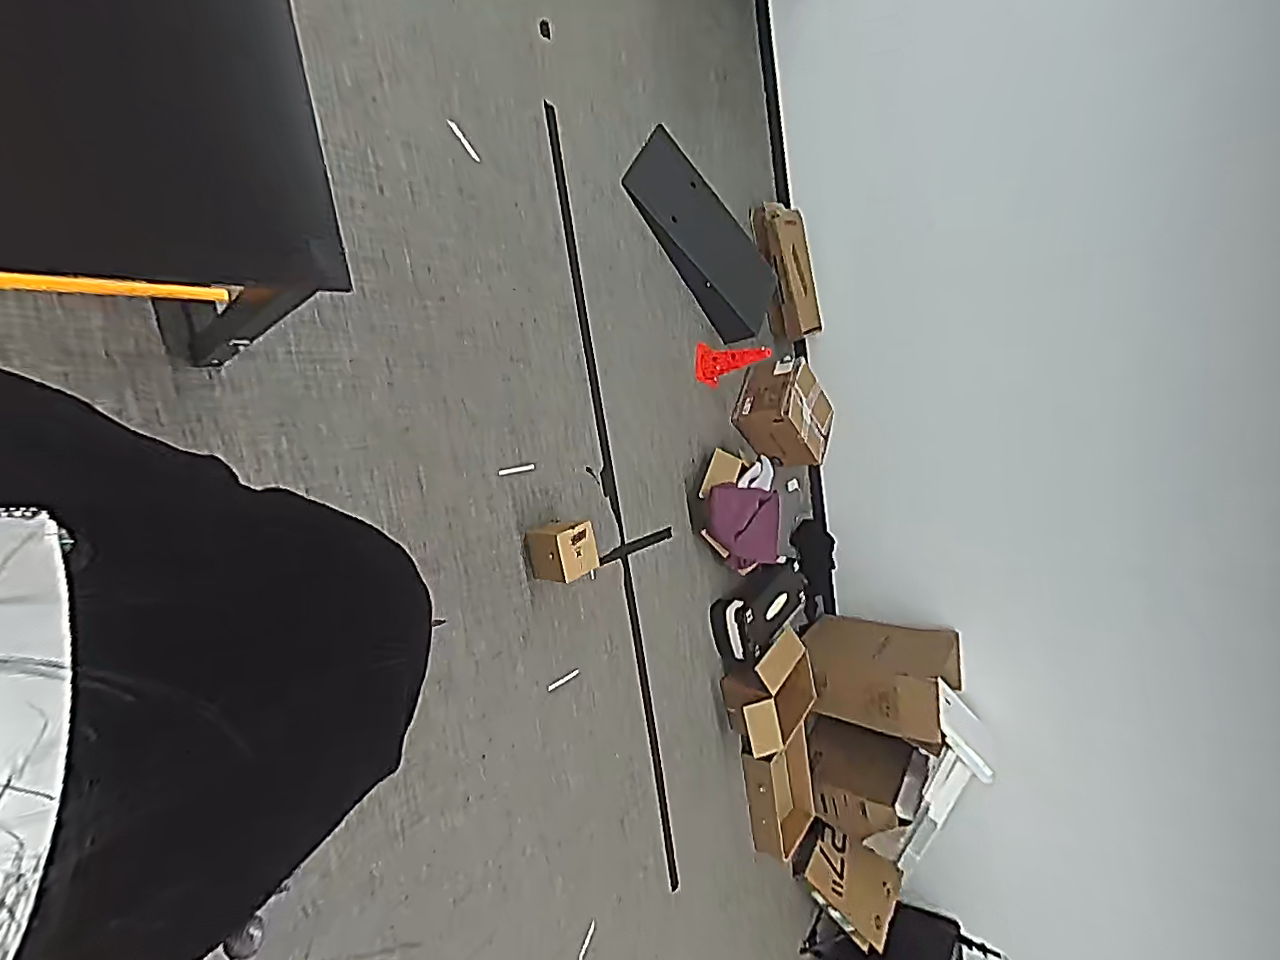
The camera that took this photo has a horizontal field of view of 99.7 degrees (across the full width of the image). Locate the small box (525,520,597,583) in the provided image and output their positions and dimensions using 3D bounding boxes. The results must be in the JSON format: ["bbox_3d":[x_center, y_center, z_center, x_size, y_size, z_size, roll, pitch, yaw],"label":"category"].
[{"bbox_3d":[-0.281,0.247,1.901,0.168,0.176,0.179,-21,105,-47],"label":"small box"}]
